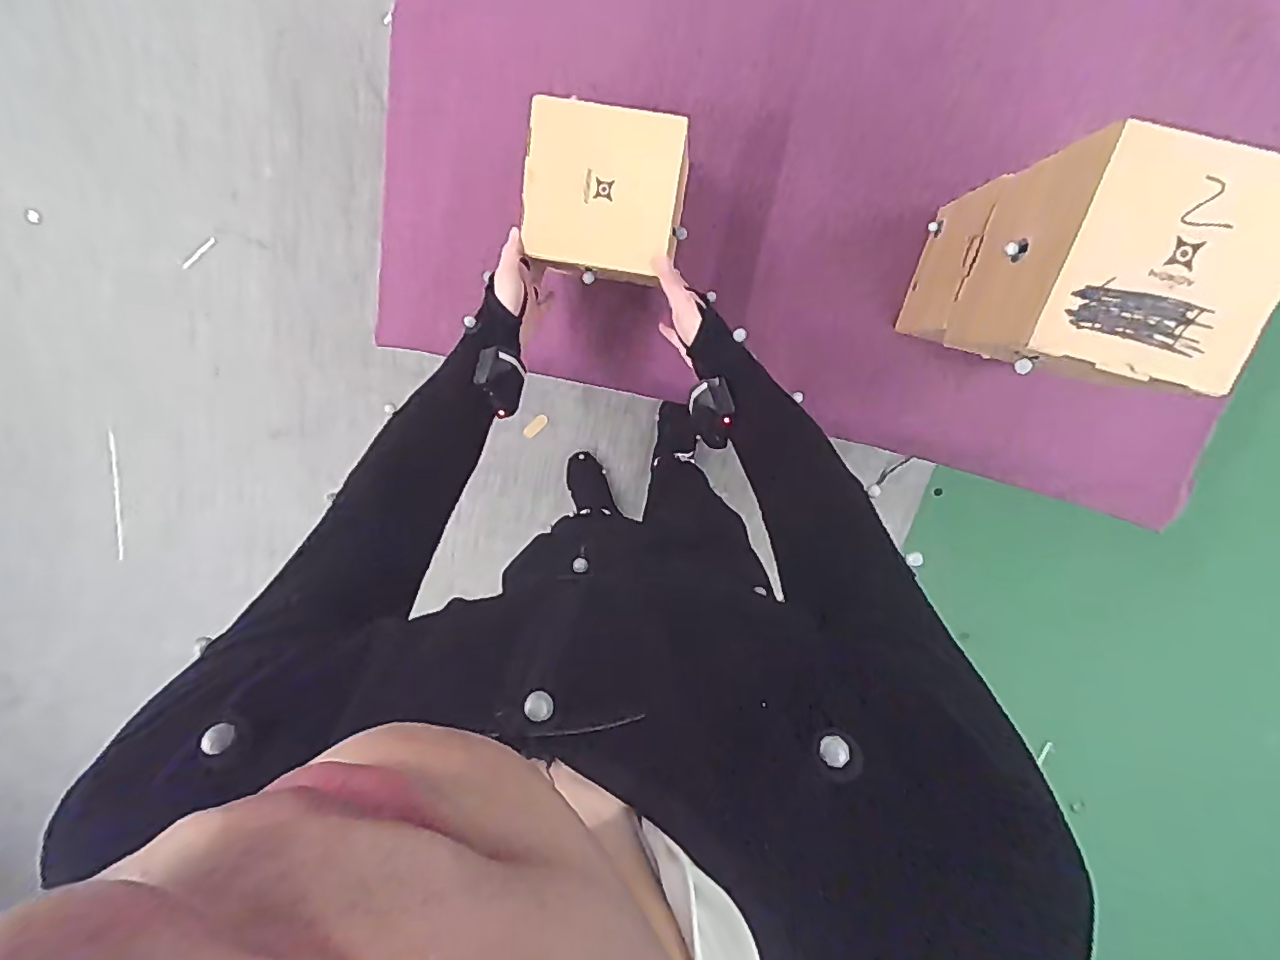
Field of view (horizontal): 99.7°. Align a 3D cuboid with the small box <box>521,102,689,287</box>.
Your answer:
[{"bbox_3d":[-0.036,-0.344,0.686,0.179,0.176,0.168,10,106,4],"label":"small box"}]

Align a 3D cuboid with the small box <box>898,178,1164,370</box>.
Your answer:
[{"bbox_3d":[0.450,-0.240,0.662,0.179,0.176,0.168,15,106,1],"label":"small box"}]
